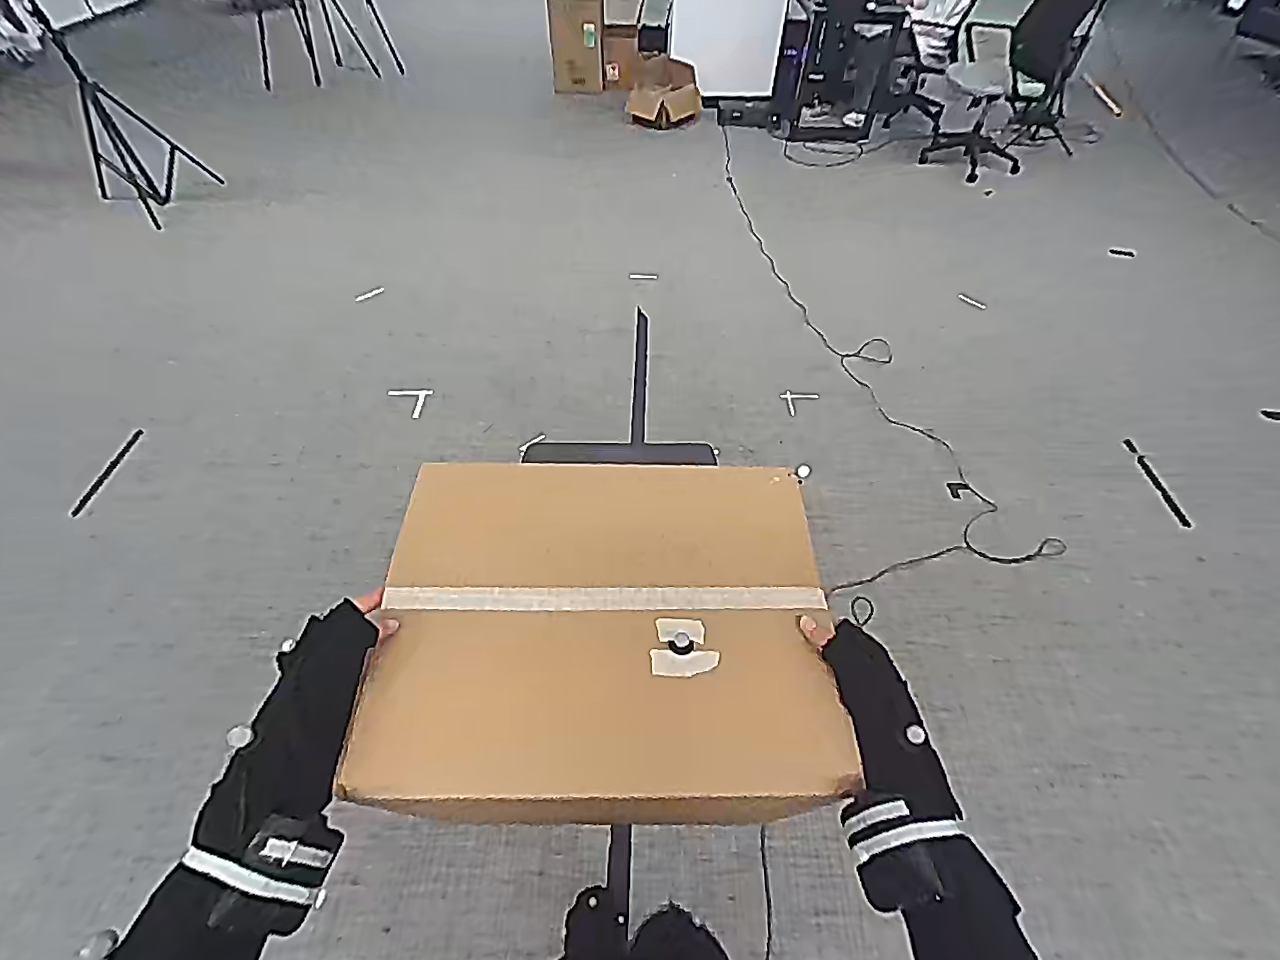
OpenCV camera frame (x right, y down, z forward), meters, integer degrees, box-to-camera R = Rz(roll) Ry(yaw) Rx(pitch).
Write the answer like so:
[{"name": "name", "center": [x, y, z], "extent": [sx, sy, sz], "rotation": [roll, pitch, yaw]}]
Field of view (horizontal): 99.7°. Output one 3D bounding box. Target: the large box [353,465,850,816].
[{"name": "large box", "center": [-0.035, 0.196, 0.632], "extent": [0.408, 0.320, 0.320], "rotation": [1, 55, -2]}]
